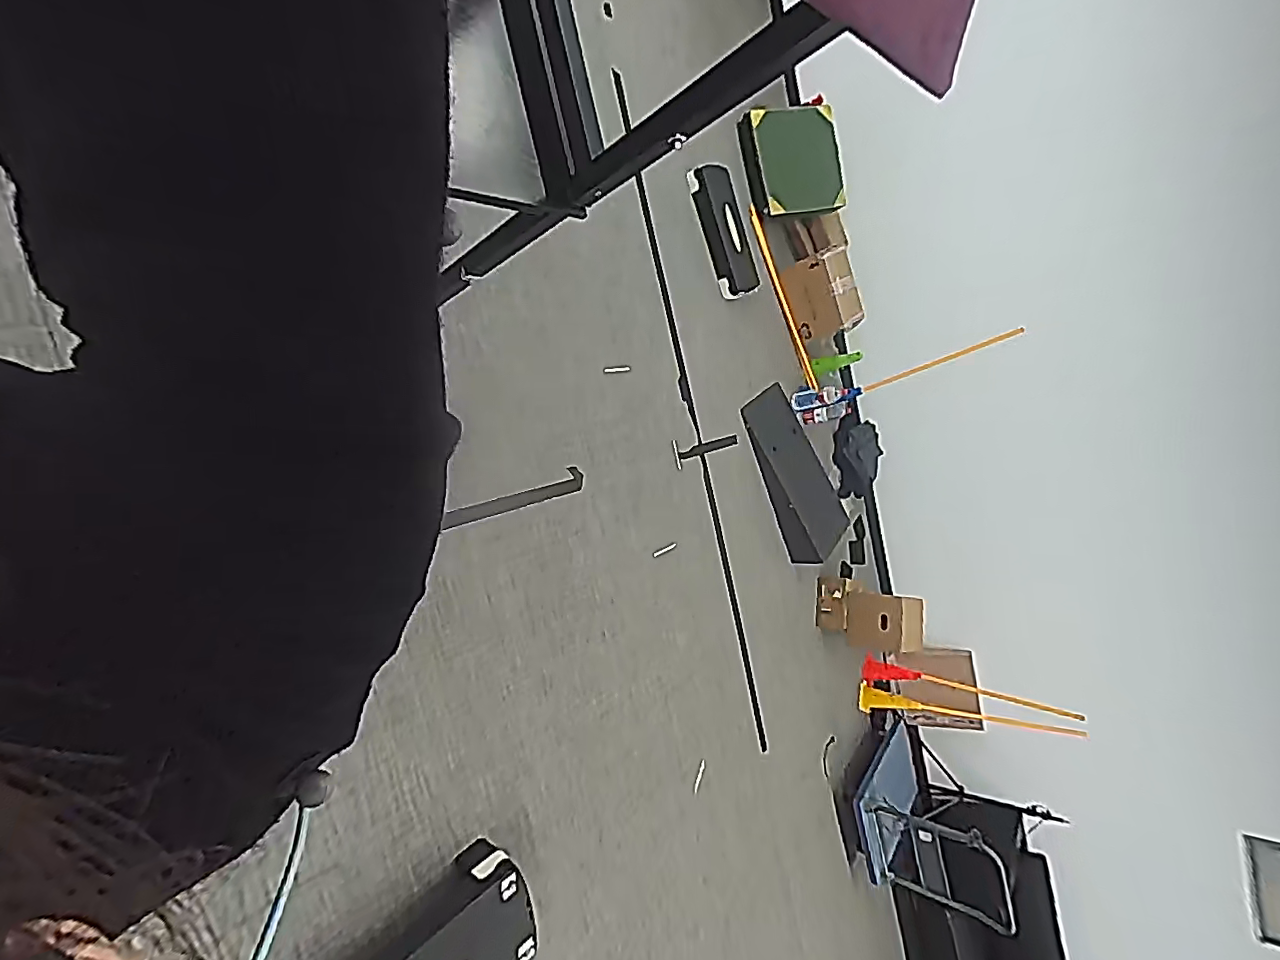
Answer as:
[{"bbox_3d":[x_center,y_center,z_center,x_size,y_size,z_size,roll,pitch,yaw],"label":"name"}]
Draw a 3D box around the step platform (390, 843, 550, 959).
[{"bbox_3d":[-0.546,1.254,1.351,0.684,0.204,0.286,-10,91,-48],"label":"step platform"}]
